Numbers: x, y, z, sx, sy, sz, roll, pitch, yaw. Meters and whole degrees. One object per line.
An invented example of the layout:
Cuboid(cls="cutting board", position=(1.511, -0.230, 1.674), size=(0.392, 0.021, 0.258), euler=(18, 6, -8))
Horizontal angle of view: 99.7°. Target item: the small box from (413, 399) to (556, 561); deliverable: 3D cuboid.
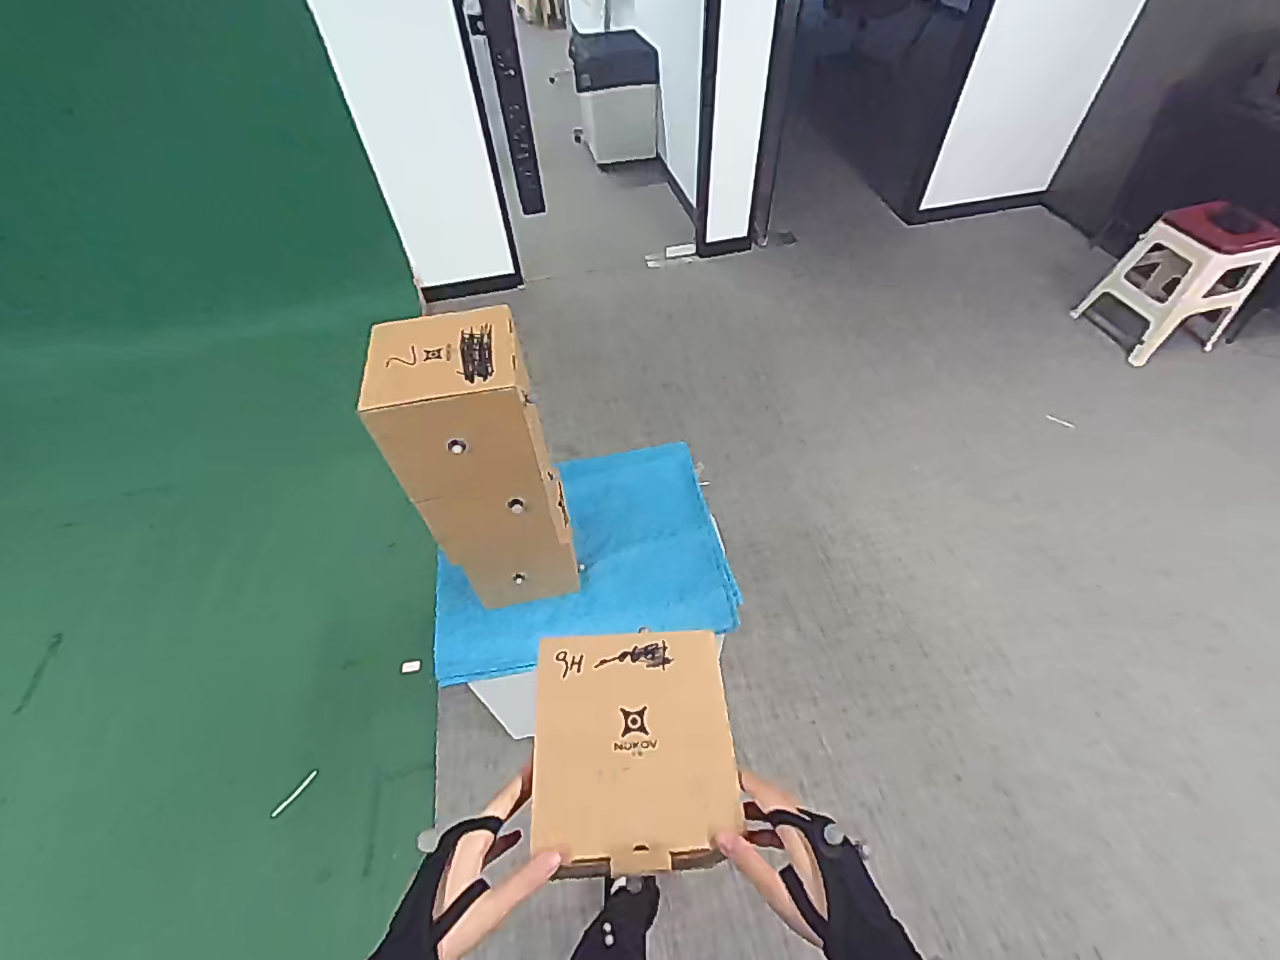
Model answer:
Cuboid(cls="small box", position=(-0.227, 0.002, 0.827), size=(0.179, 0.176, 0.168), euler=(-10, 50, -6))

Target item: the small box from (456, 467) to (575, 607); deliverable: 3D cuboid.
Cuboid(cls="small box", position=(-0.213, 0.104, 0.955), size=(0.179, 0.176, 0.168), euler=(-10, 51, -6))
